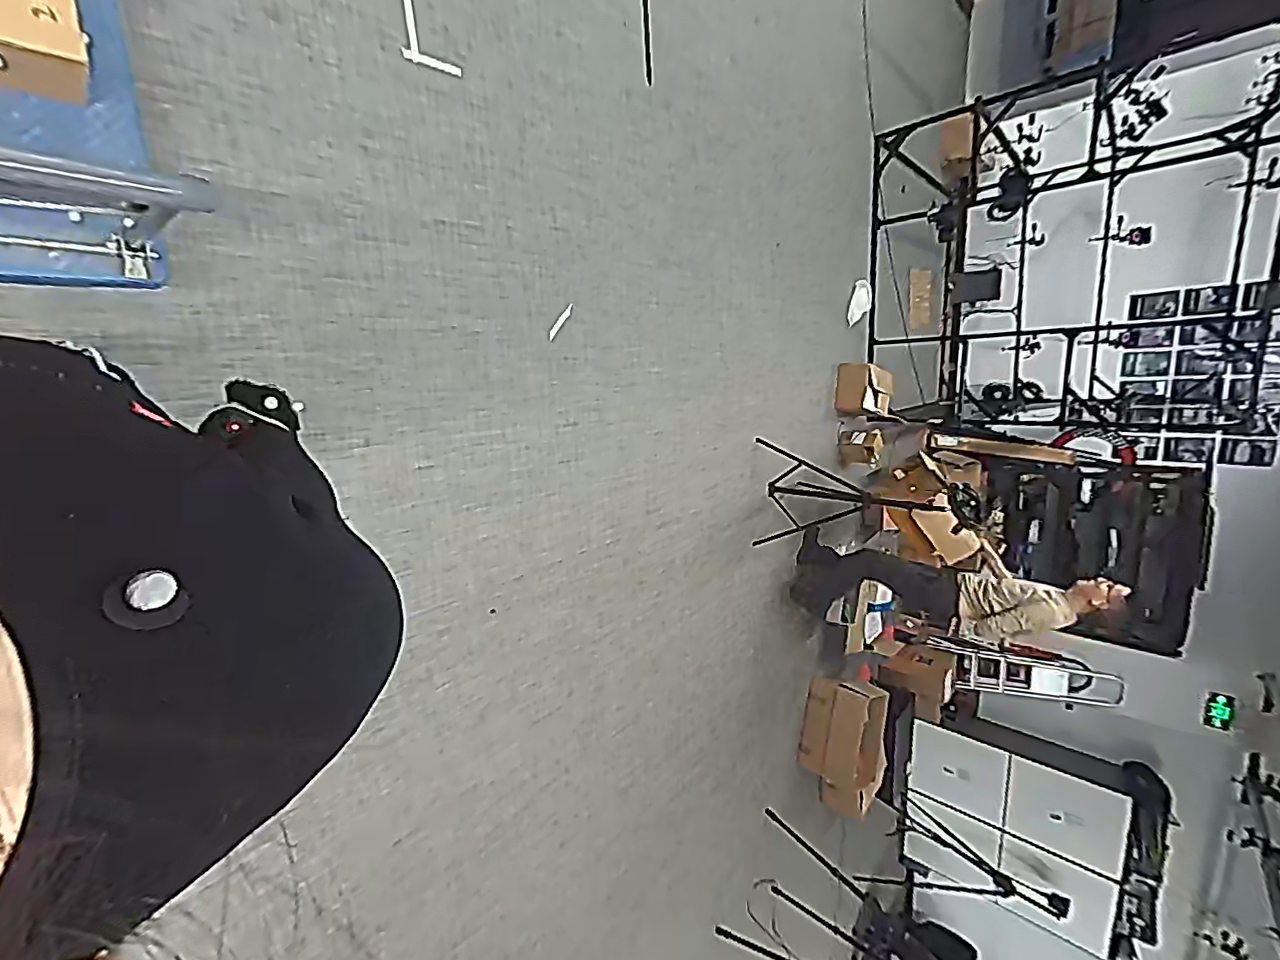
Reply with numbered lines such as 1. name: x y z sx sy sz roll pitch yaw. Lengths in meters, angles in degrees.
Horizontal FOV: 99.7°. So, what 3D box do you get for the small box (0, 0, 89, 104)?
1. small box: -0.937 -0.678 0.778 0.179 0.176 0.168 -17 108 -45
